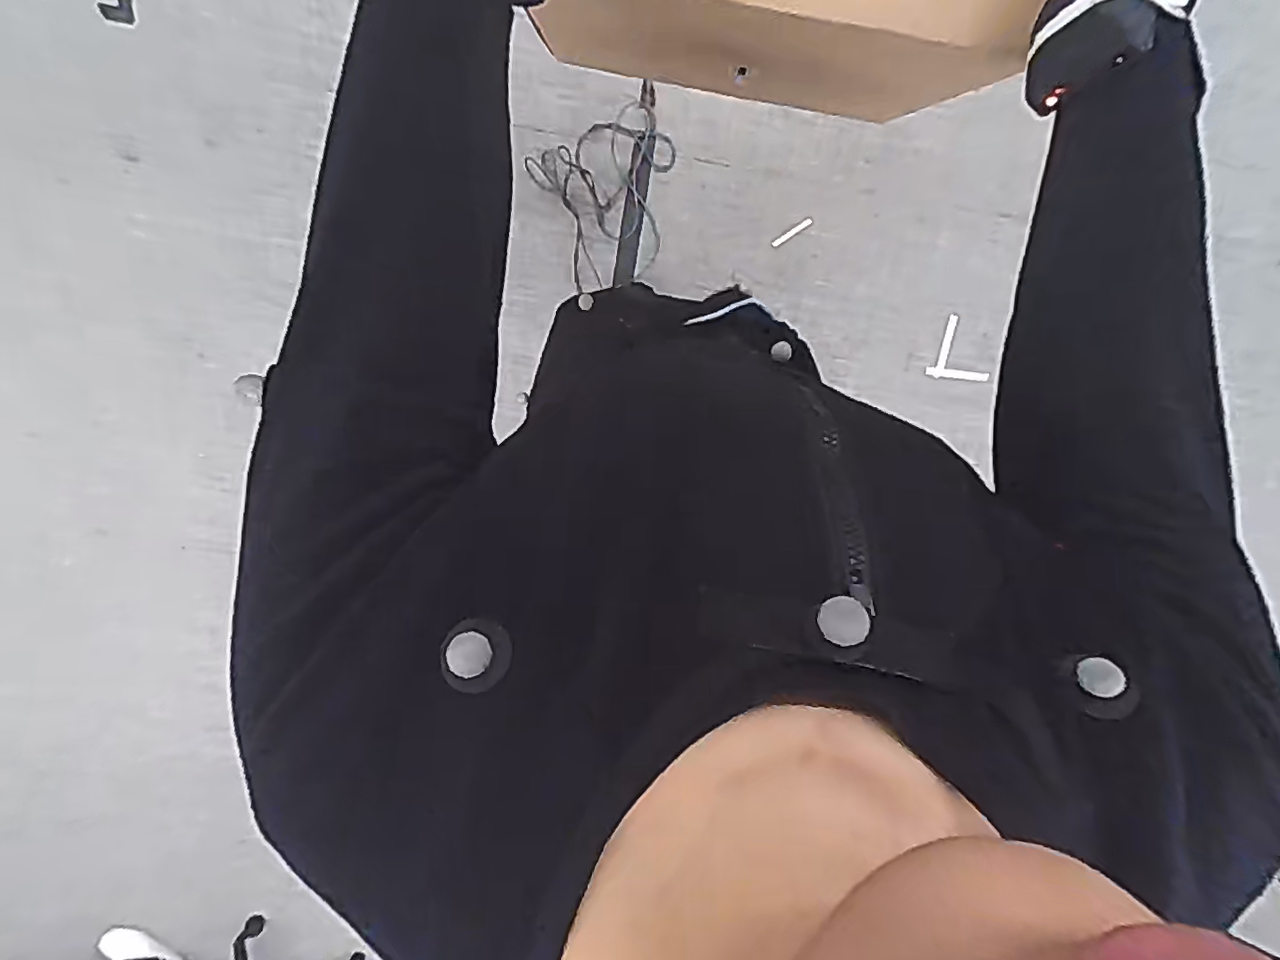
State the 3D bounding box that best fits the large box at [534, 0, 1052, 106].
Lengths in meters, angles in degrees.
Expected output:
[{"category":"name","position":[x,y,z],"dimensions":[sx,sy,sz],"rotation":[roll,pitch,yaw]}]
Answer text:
[{"category":"large box","position":[0.123,-0.548,0.454],"dimensions":[0.408,0.320,0.320],"rotation":[9,115,-3]}]
